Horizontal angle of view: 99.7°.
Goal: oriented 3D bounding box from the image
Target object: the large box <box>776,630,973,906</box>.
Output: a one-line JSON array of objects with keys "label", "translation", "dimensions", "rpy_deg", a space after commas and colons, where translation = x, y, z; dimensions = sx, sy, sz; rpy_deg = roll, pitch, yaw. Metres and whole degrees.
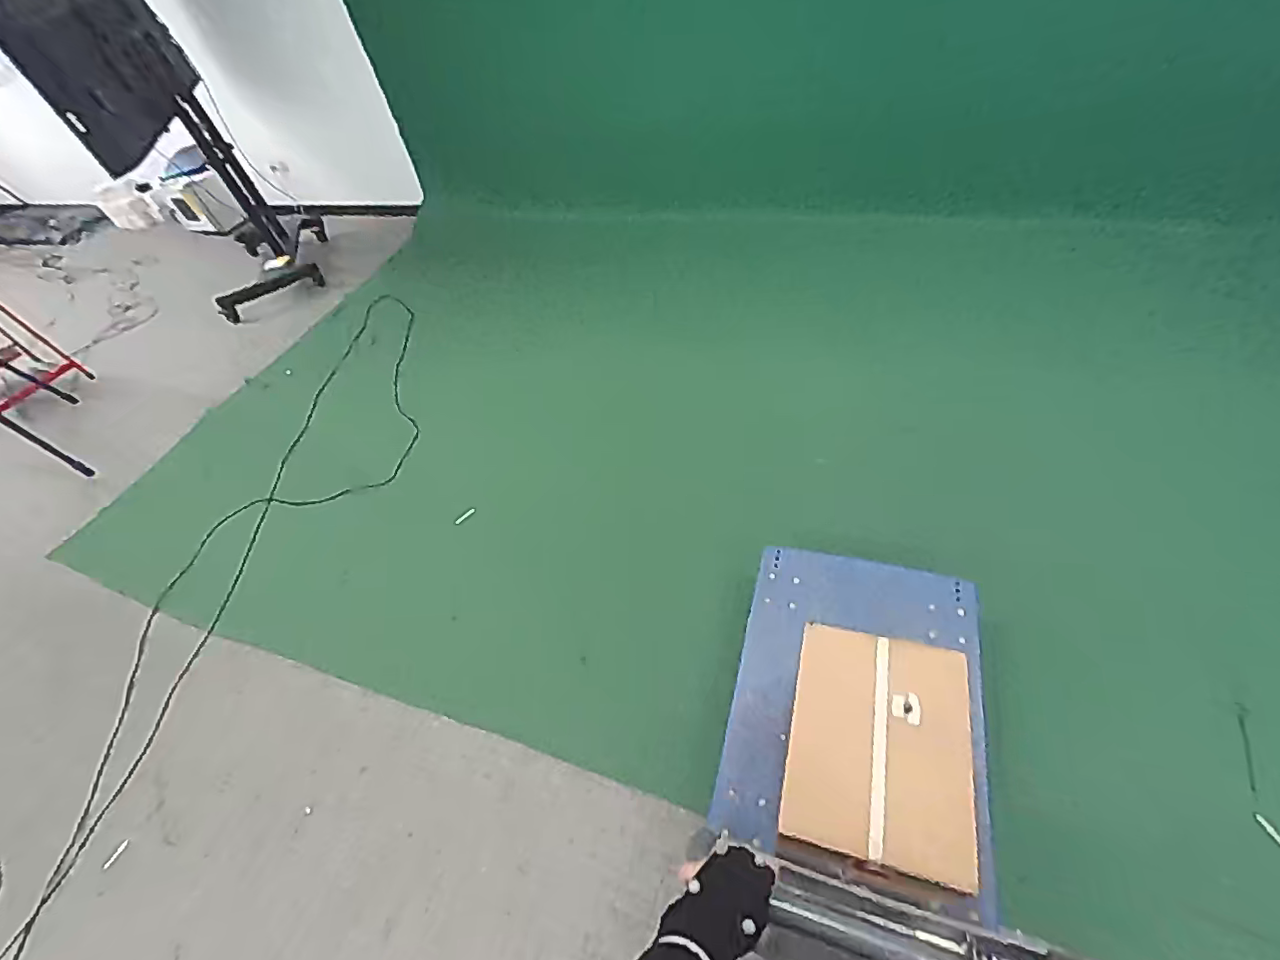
[{"label": "large box", "translation": [0.466, 0.590, 1.129], "dimensions": [0.320, 0.320, 0.408], "rpy_deg": [8, 52, 18]}]
